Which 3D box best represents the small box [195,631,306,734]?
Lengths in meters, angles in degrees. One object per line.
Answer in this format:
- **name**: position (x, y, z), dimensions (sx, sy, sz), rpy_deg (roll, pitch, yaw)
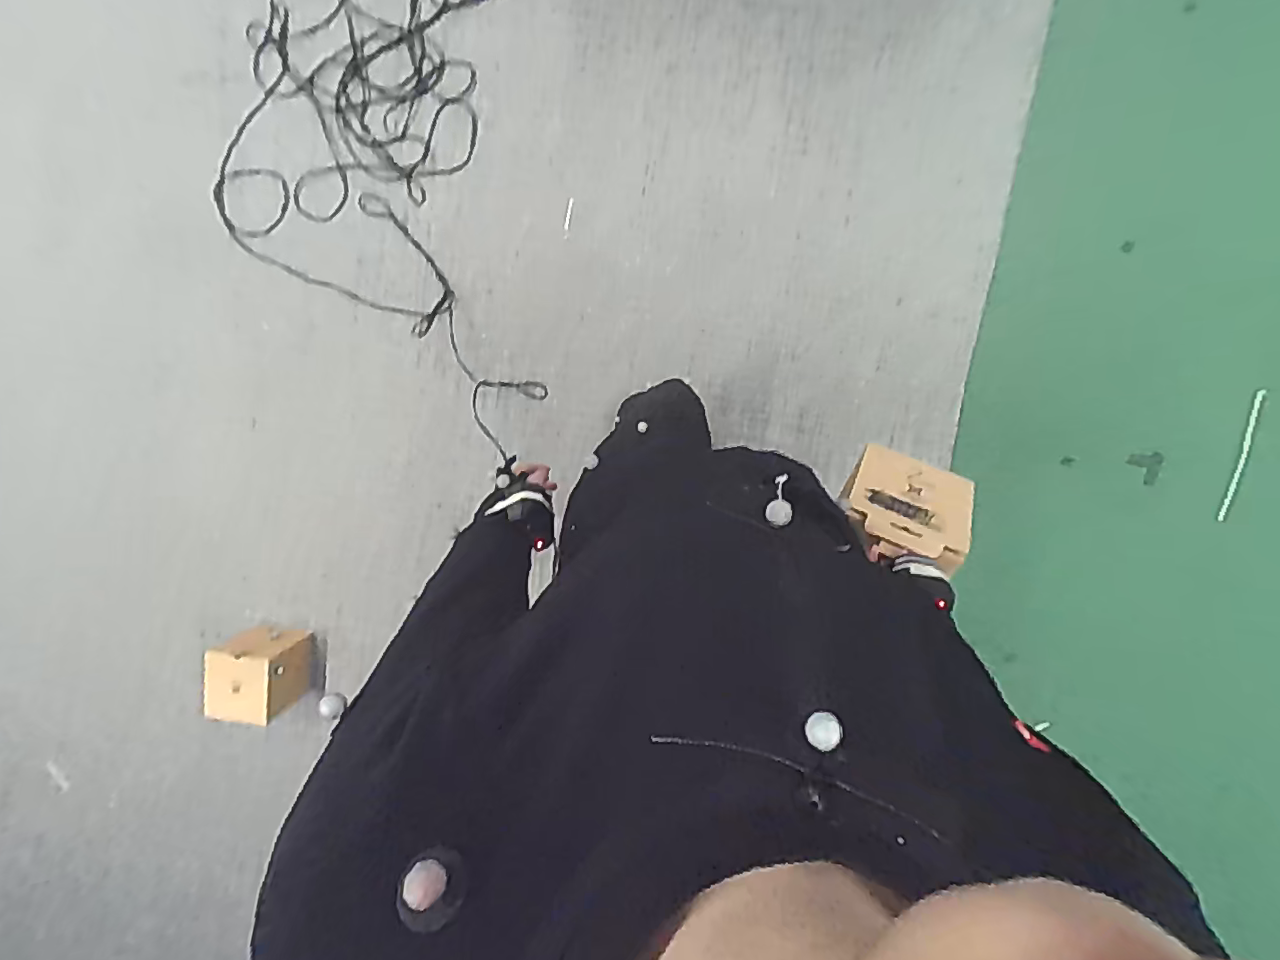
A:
- **small box**: position (-0.987, 0.510, 1.379), dimensions (0.168, 0.176, 0.179), rpy_deg (7, 96, 3)
